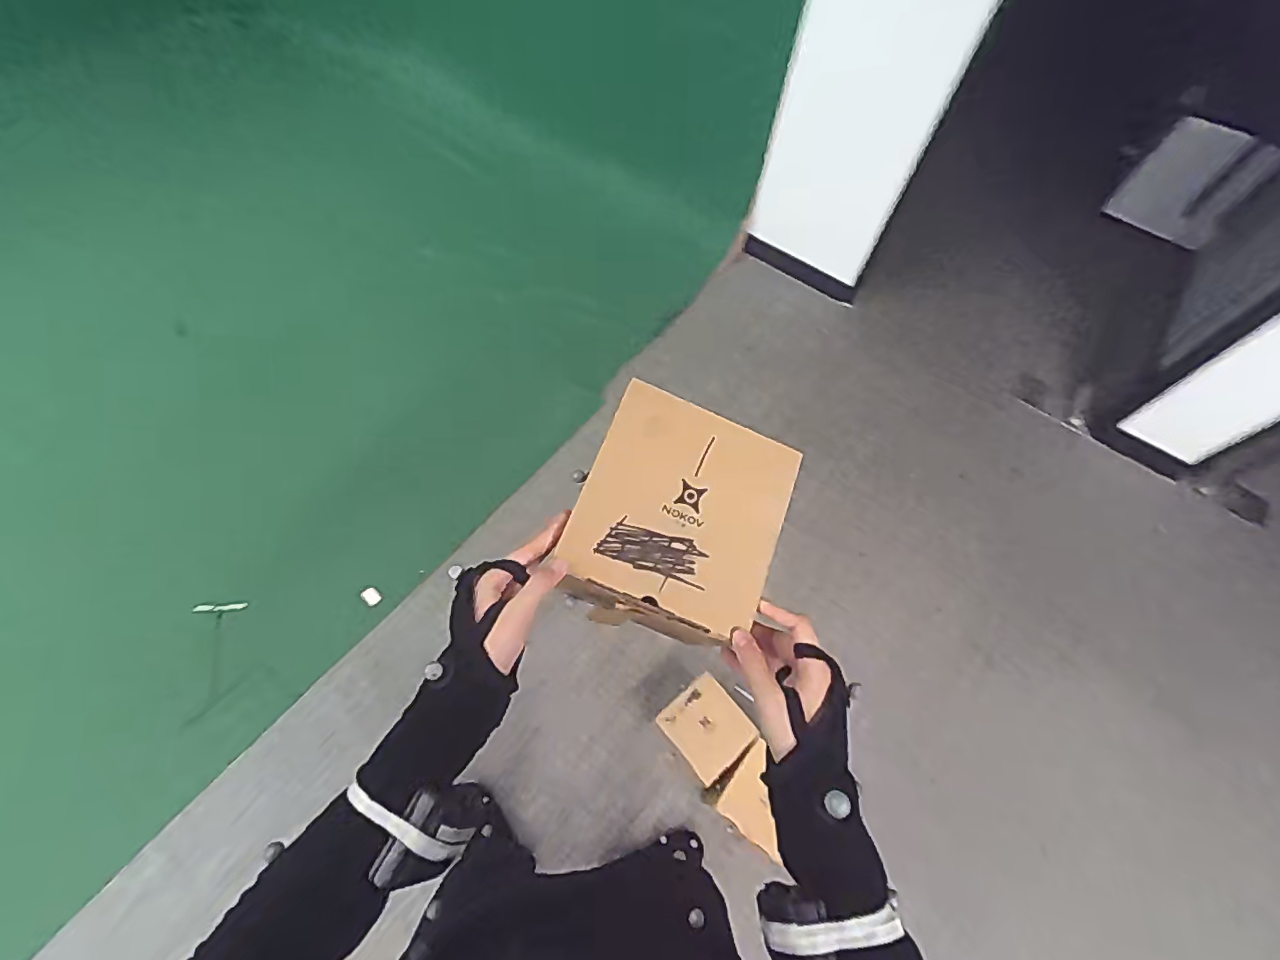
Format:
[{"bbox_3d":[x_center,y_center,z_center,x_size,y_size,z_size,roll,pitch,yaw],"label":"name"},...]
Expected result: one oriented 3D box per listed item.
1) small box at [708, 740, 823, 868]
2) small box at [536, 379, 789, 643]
[{"bbox_3d":[0.269,0.710,1.205,0.168,0.176,0.179,37,67,15],"label":"small box"},{"bbox_3d":[0.012,0.042,0.514,0.168,0.176,0.179,23,70,-4],"label":"small box"}]
